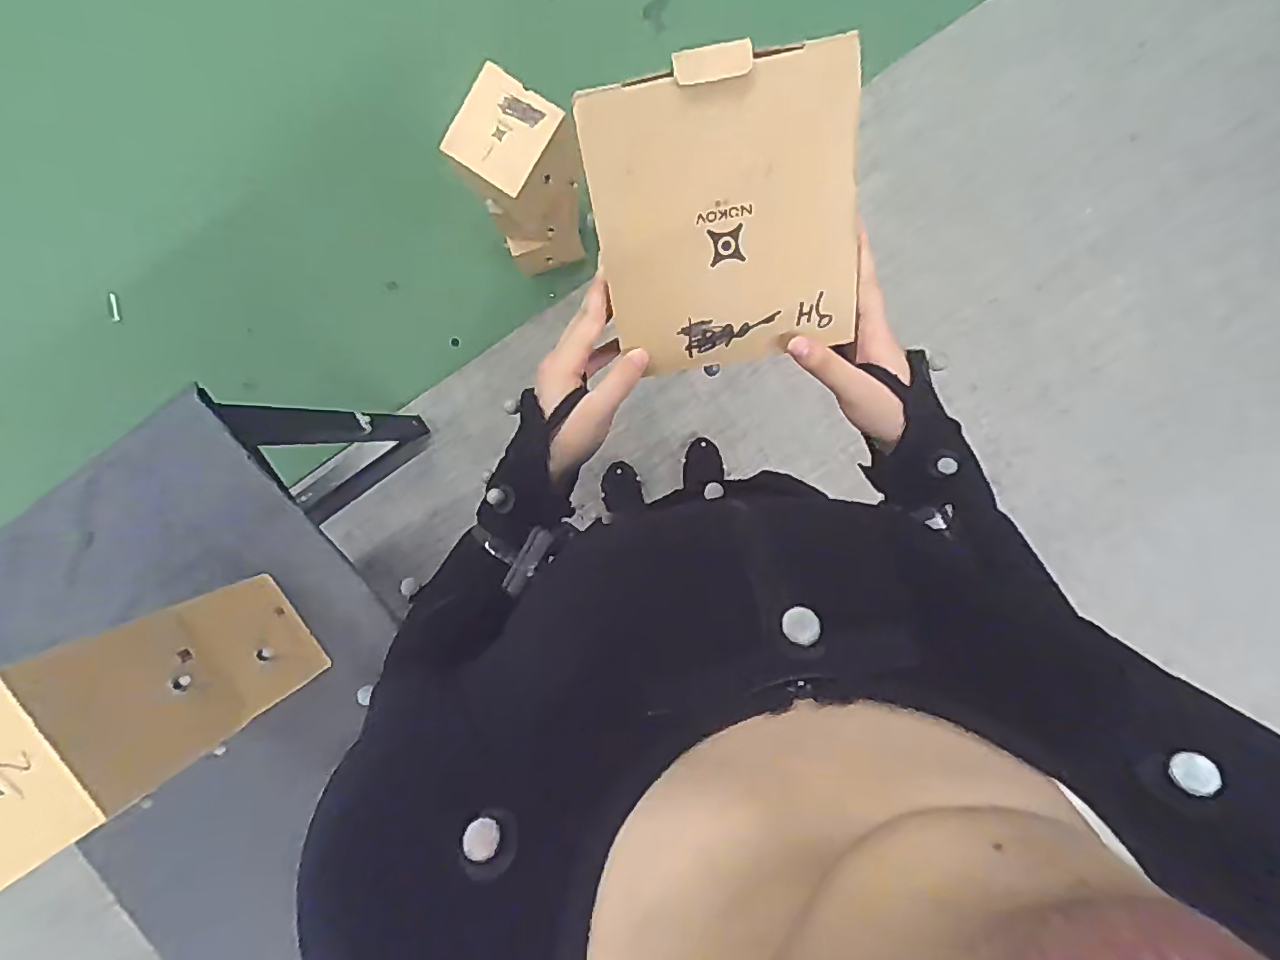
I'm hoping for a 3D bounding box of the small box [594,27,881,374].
[{"bbox_3d":[0.064,-0.200,0.410,0.168,0.176,0.179,-8,120,5],"label":"small box"}]

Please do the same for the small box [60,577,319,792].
[{"bbox_3d":[-0.567,0.254,0.714,0.179,0.176,0.168,-34,93,6],"label":"small box"}]

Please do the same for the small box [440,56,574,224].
[{"bbox_3d":[-0.240,-0.629,1.026,0.168,0.176,0.179,33,96,-2],"label":"small box"}]

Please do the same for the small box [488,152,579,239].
[{"bbox_3d":[-0.227,-0.649,1.189,0.168,0.176,0.179,3,95,0],"label":"small box"}]

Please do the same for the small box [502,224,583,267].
[{"bbox_3d":[-0.251,-0.651,1.352,0.168,0.176,0.179,-17,94,3],"label":"small box"}]
